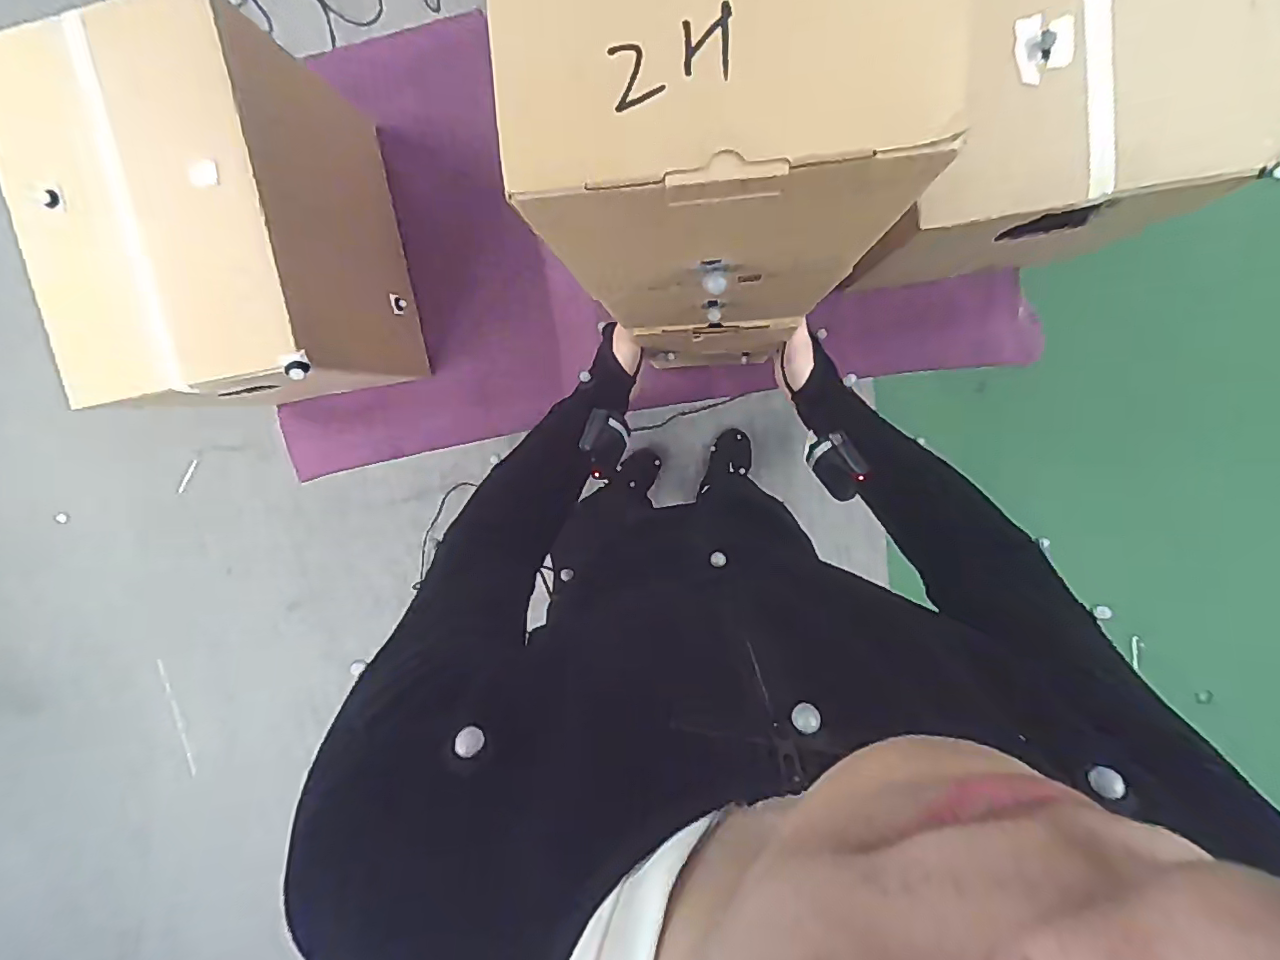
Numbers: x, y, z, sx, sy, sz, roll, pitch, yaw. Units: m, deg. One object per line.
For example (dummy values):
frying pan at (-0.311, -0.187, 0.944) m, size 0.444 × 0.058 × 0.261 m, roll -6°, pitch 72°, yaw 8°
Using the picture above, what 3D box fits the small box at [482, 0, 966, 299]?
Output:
small box at (0.032, -0.199, 0.261) m, size 0.168 × 0.176 × 0.179 m, roll -2°, pitch 96°, yaw 7°

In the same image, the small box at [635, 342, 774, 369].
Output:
small box at (0.087, -0.247, 0.750) m, size 0.179 × 0.176 × 0.168 m, roll -1°, pitch 96°, yaw 5°

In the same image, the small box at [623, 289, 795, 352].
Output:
small box at (0.073, -0.235, 0.586) m, size 0.168 × 0.176 × 0.179 m, roll -1°, pitch 96°, yaw 6°

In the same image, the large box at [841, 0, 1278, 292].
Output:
large box at (0.407, -0.471, 0.624) m, size 0.320 × 0.320 × 0.408 m, roll -7°, pitch 98°, yaw 9°
